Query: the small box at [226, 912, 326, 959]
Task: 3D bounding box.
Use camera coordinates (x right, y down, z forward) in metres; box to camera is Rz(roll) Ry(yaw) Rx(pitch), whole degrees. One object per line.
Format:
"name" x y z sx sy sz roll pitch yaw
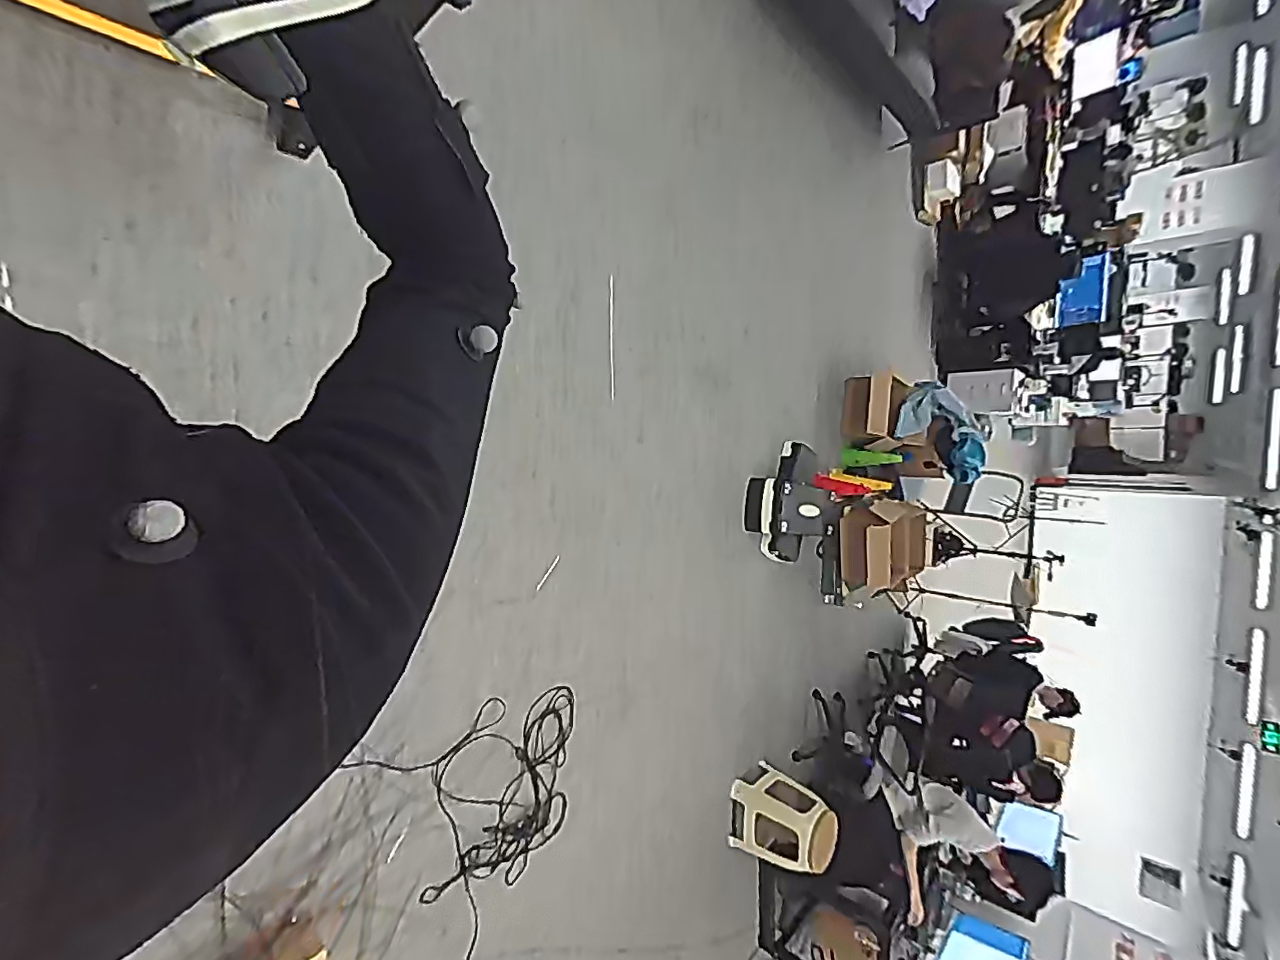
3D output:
"small box" -0.862 1.184 1.286 0.168 0.176 0.179 -8 100 -47
